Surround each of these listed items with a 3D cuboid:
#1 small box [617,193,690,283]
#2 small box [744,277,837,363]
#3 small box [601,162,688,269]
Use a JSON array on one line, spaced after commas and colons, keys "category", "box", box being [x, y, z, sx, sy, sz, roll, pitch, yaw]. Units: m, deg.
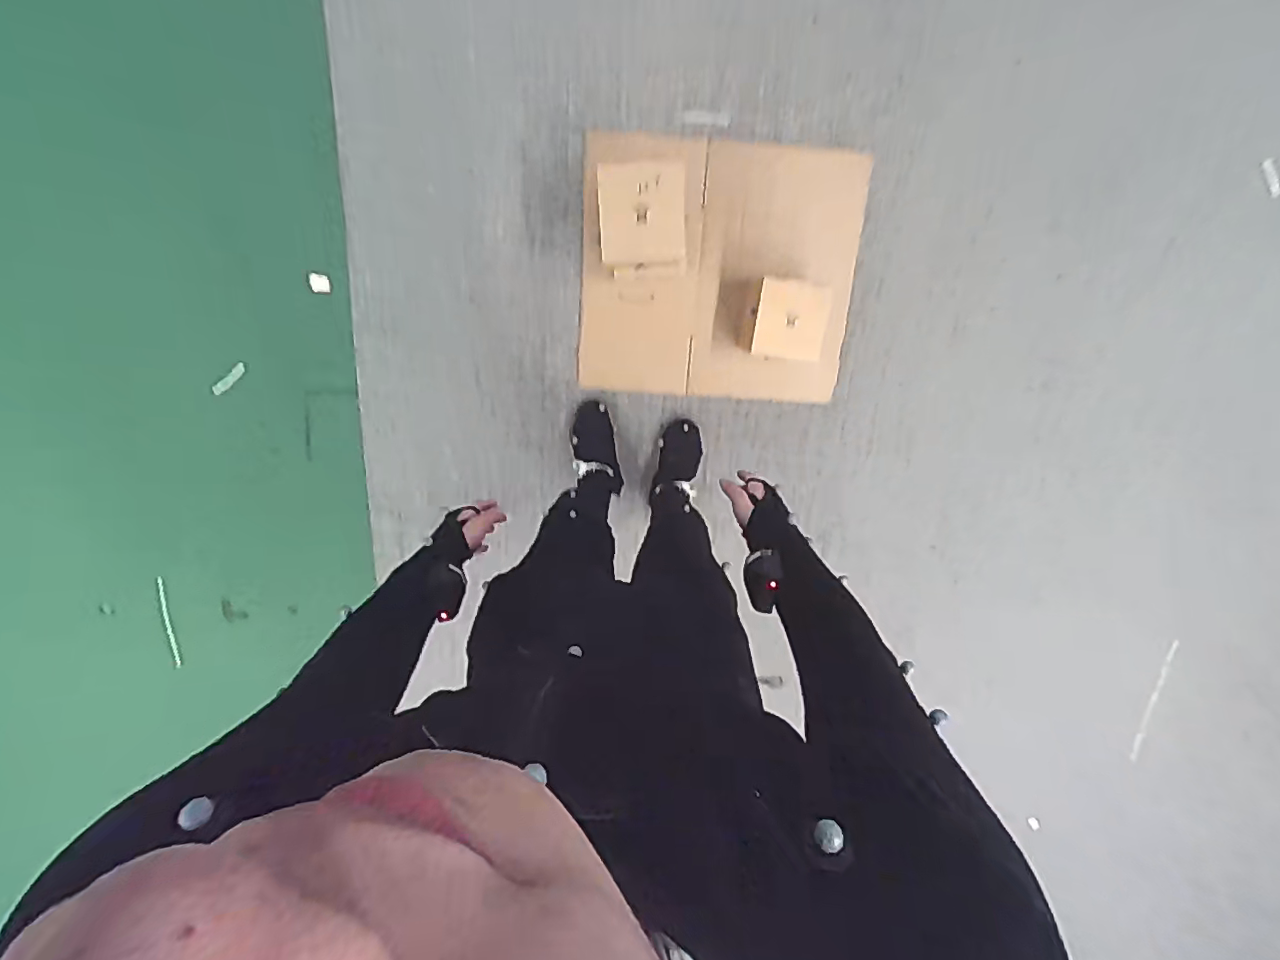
[{"category": "small box", "box": [0.026, -0.563, 1.268, 0.168, 0.176, 0.179, -3, 107, 0]}, {"category": "small box", "box": [0.358, -0.390, 1.321, 0.168, 0.176, 0.179, 6, 106, -2]}, {"category": "small box", "box": [0.009, -0.530, 1.105, 0.168, 0.176, 0.179, -2, 106, -1]}]
